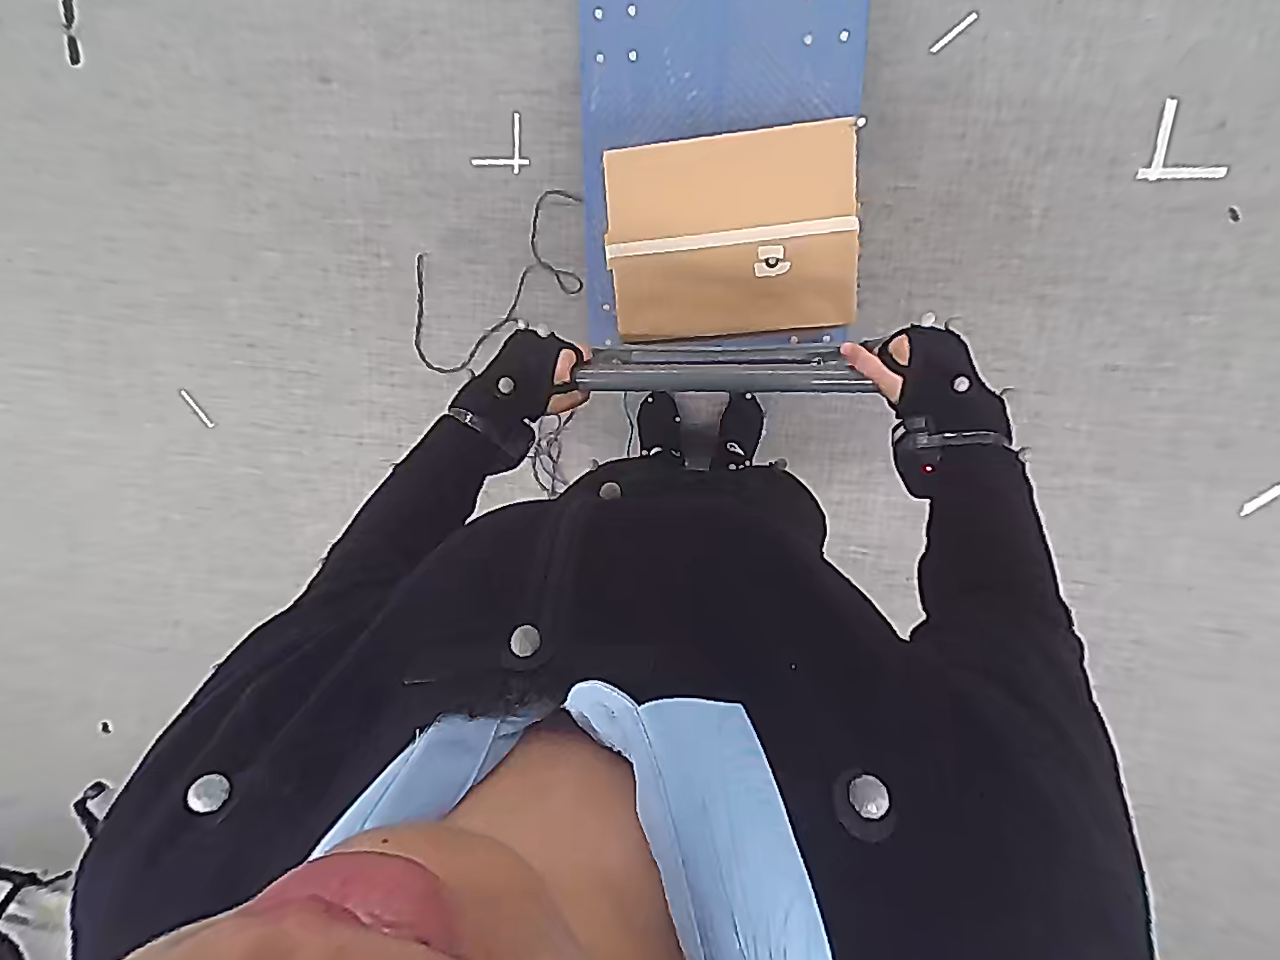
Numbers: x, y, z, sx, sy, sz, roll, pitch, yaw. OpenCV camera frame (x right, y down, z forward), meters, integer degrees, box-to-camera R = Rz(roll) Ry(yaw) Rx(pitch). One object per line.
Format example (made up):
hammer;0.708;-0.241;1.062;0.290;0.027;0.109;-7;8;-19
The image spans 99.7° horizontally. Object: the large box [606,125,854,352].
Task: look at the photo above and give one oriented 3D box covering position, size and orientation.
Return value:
large box;0.167;-0.429;1.052;0.408;0.320;0.320;-3;102;7
